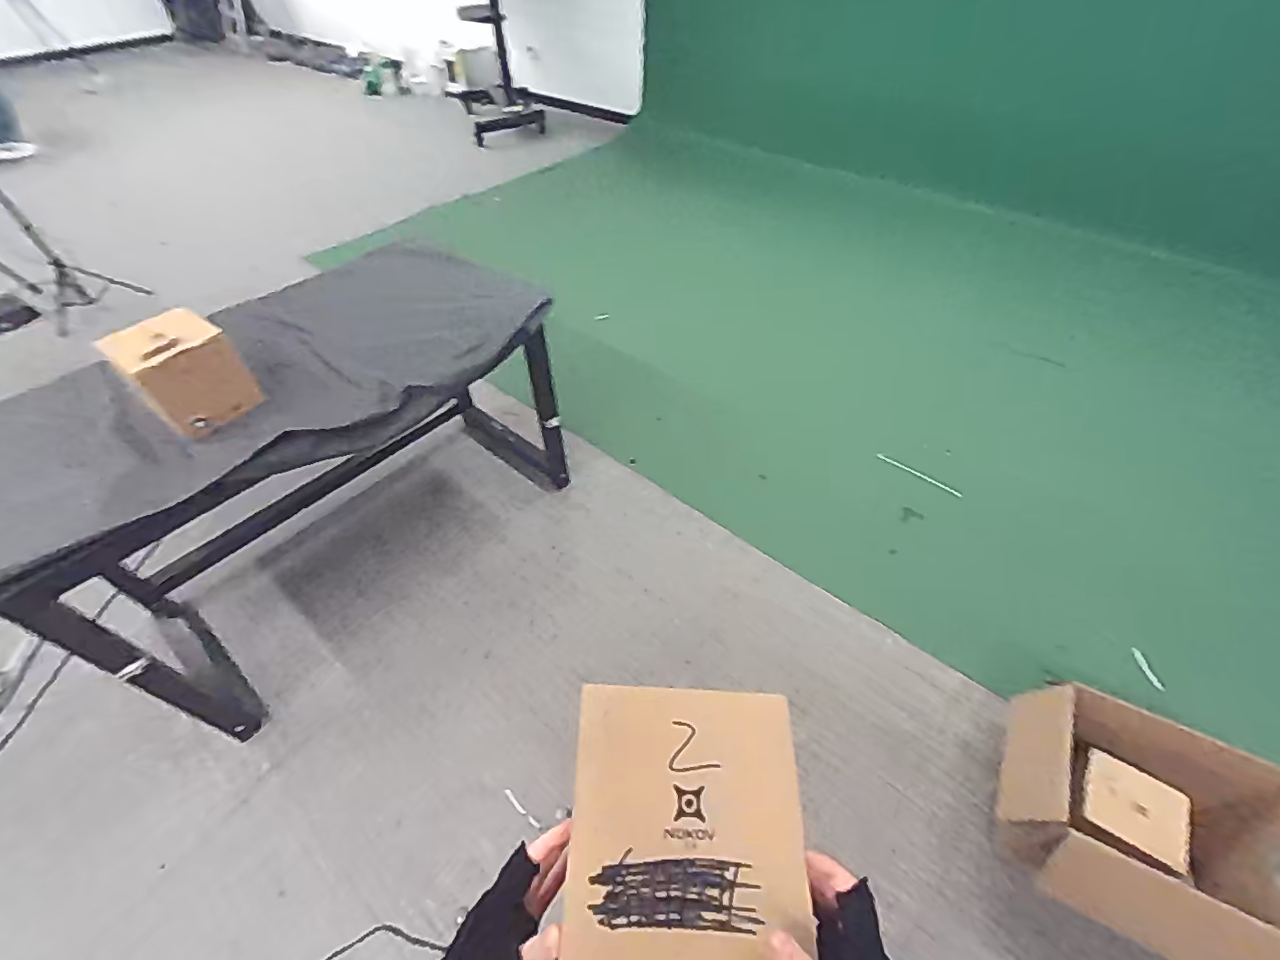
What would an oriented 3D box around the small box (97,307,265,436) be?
[{"bbox_3d":[-0.911,-0.214,1.090,0.179,0.176,0.168,28,54,24],"label":"small box"}]
